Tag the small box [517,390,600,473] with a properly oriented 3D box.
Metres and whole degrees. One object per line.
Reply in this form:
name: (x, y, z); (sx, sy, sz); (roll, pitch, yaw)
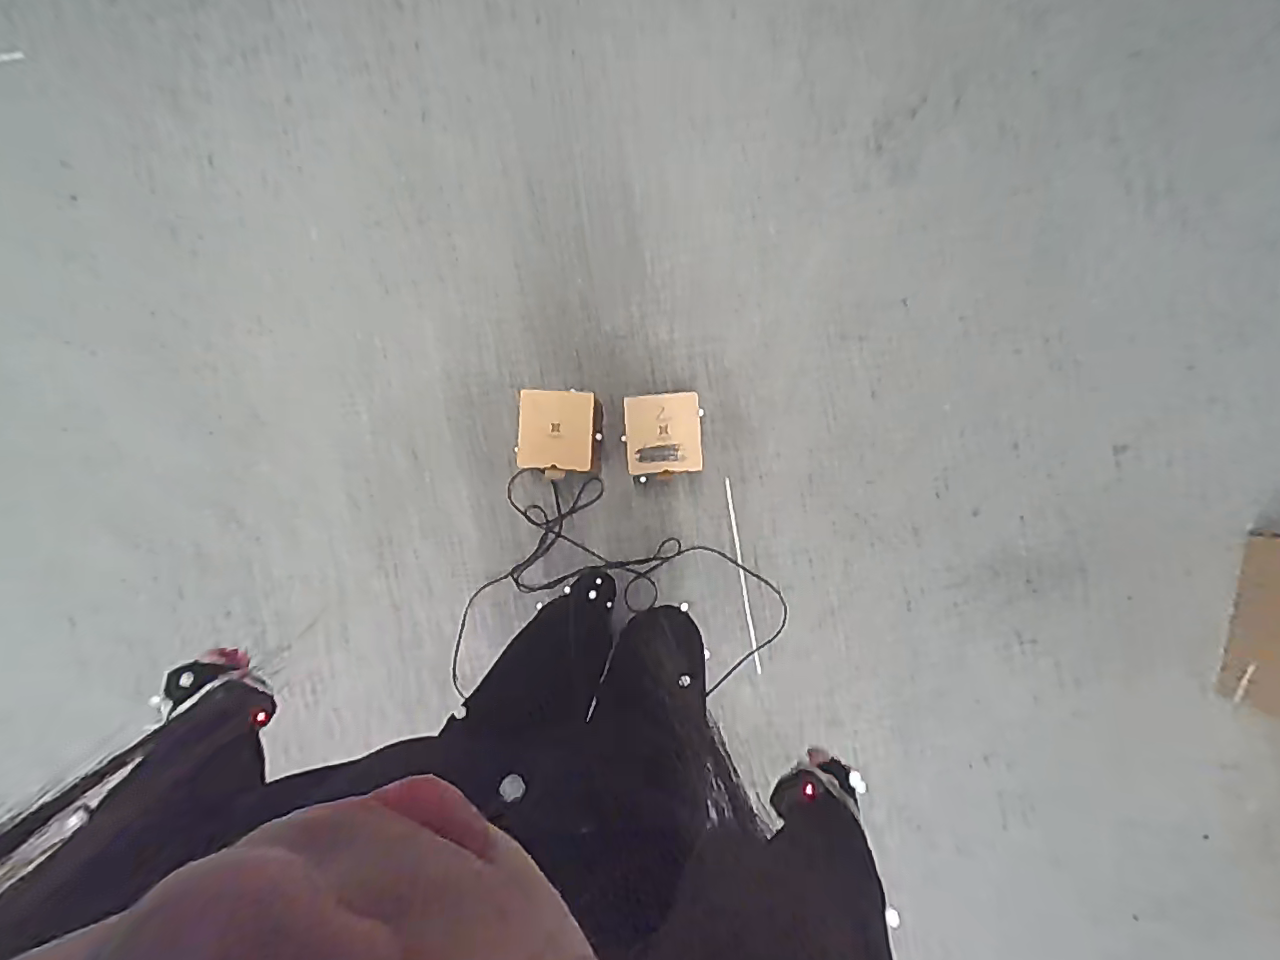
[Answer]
small box: (-0.187, -0.110, 1.280); (0.168, 0.176, 0.179); (3, 92, 2)
